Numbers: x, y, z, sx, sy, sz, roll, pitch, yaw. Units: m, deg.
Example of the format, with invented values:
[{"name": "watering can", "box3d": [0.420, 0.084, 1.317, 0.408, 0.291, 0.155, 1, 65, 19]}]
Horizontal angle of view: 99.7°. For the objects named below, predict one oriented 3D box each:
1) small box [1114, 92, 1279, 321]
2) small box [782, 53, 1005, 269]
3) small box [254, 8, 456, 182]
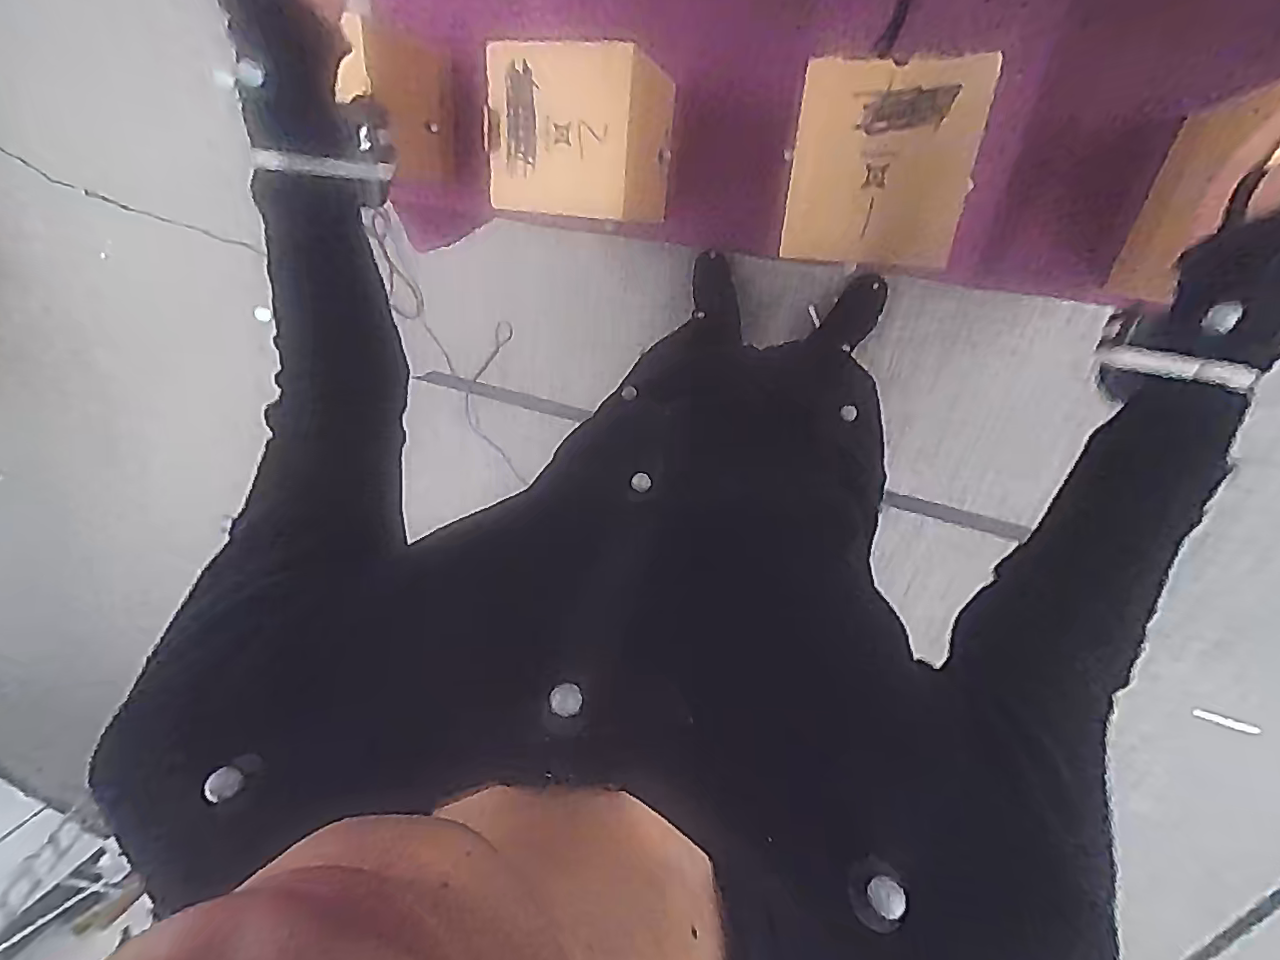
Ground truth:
[{"name": "small box", "box3d": [0.597, -0.246, 0.500, 0.168, 0.176, 0.179, 17, 118, 15]}, {"name": "small box", "box3d": [0.259, -0.335, 0.591, 0.168, 0.176, 0.179, 11, 118, 16]}, {"name": "small box", "box3d": [-0.380, -0.519, 0.750, 0.179, 0.176, 0.168, 14, 117, 13]}]
